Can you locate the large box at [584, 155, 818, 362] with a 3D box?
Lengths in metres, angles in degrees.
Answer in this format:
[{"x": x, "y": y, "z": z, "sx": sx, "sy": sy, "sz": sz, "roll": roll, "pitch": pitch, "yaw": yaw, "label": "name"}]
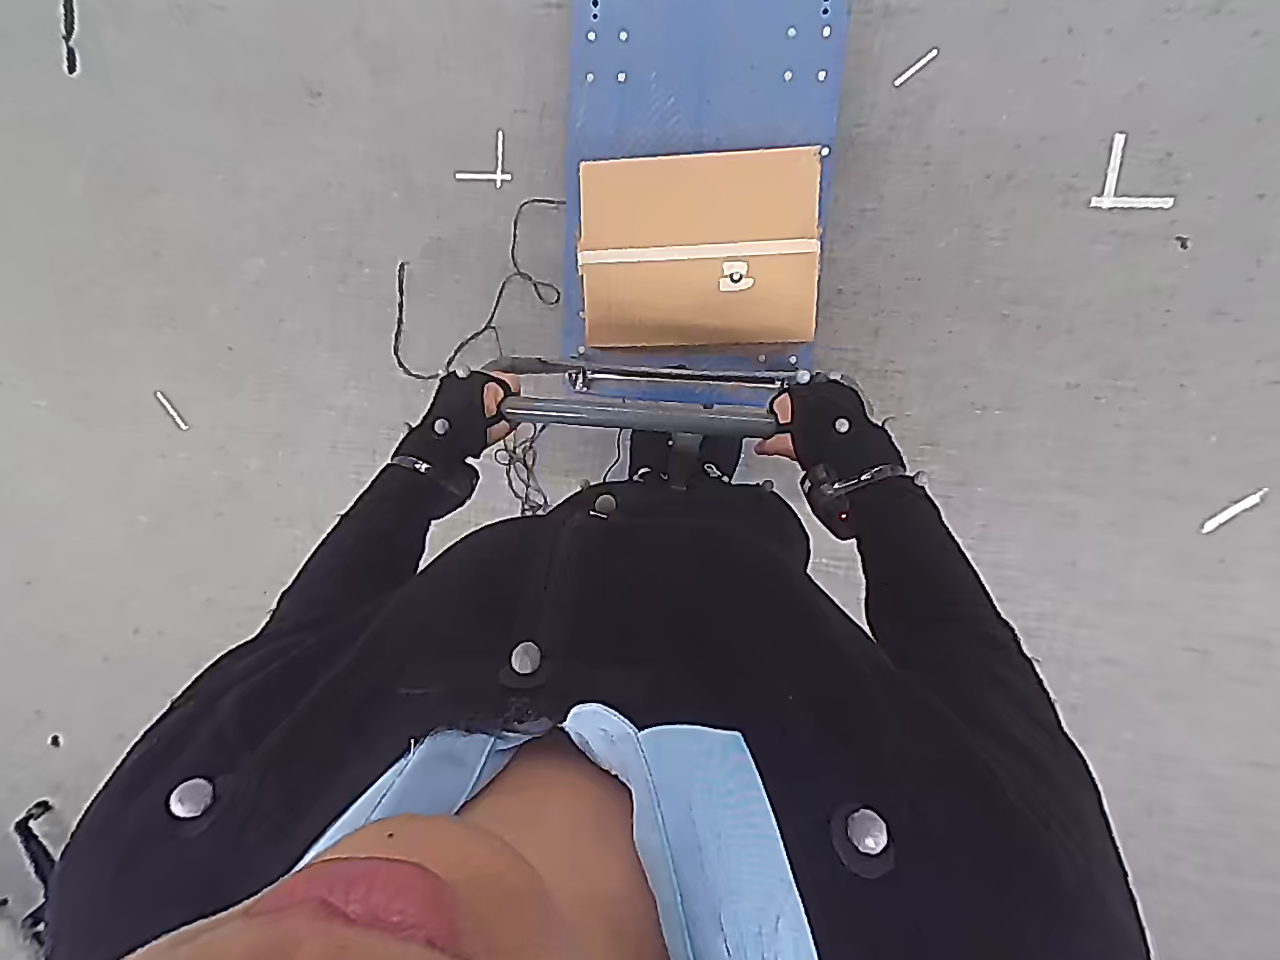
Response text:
[{"x": 0.117, "y": -0.410, "z": 1.087, "sx": 0.408, "sy": 0.320, "sz": 0.320, "roll": 0, "pitch": 100, "yaw": 6, "label": "large box"}]
